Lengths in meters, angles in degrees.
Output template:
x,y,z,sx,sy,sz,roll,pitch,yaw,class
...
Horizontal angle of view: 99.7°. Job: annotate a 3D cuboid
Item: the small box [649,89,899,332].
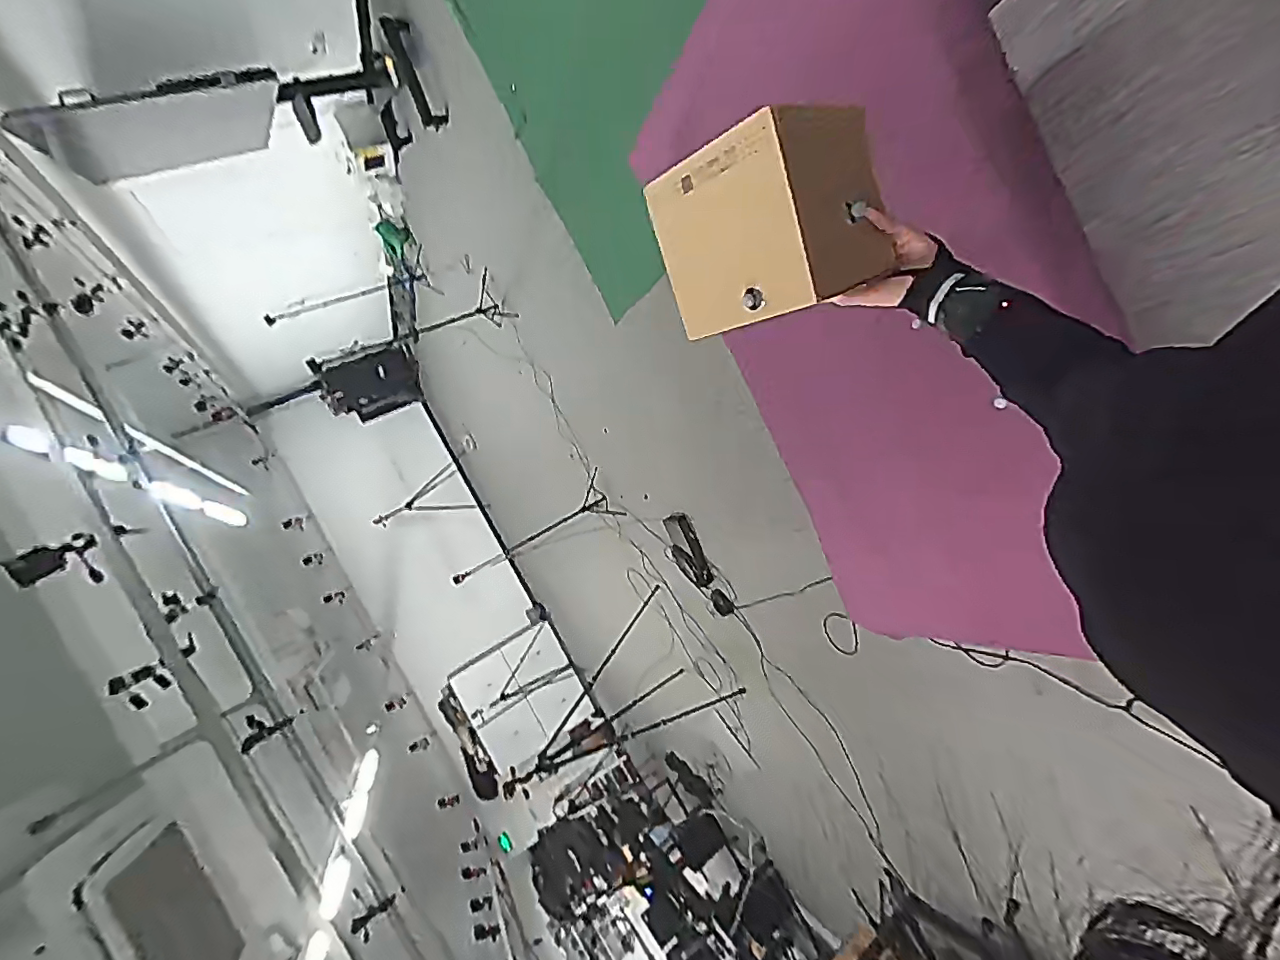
x,y,z,sx,sy,sz,roll,pitch,yaw,class
0.141,-0.275,0.561,0.168,0.179,0.176,-1,116,50,small box
